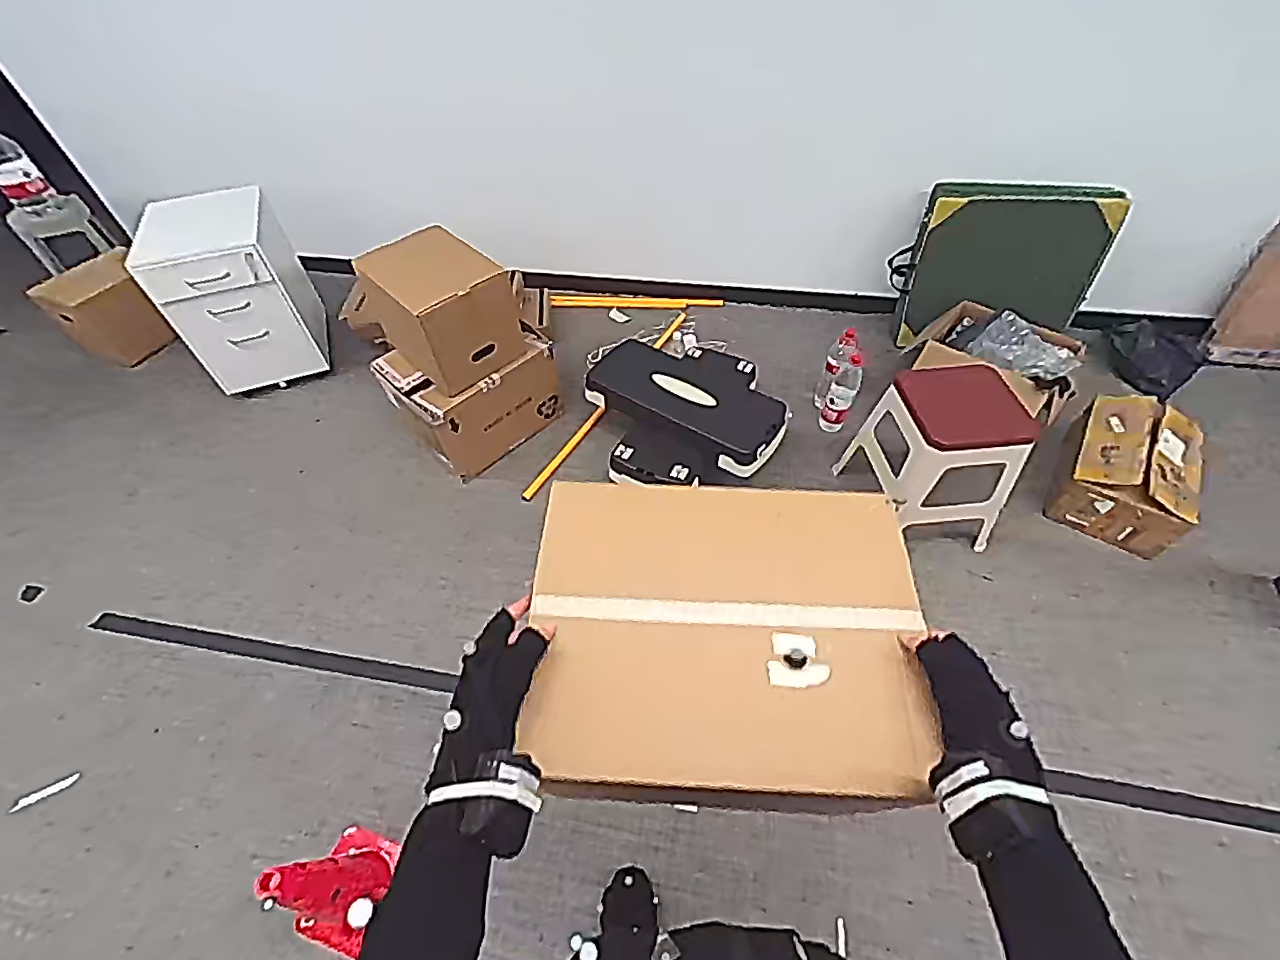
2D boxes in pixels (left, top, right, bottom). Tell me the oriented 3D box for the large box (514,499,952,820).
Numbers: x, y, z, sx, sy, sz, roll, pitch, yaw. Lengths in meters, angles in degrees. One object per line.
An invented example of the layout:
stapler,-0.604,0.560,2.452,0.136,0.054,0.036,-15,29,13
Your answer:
large box,0.085,0.238,0.689,0.408,0.320,0.320,2,56,2

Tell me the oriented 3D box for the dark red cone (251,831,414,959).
dark red cone,-0.612,0.778,1.025,0.201,0.394,0.202,12,52,11
